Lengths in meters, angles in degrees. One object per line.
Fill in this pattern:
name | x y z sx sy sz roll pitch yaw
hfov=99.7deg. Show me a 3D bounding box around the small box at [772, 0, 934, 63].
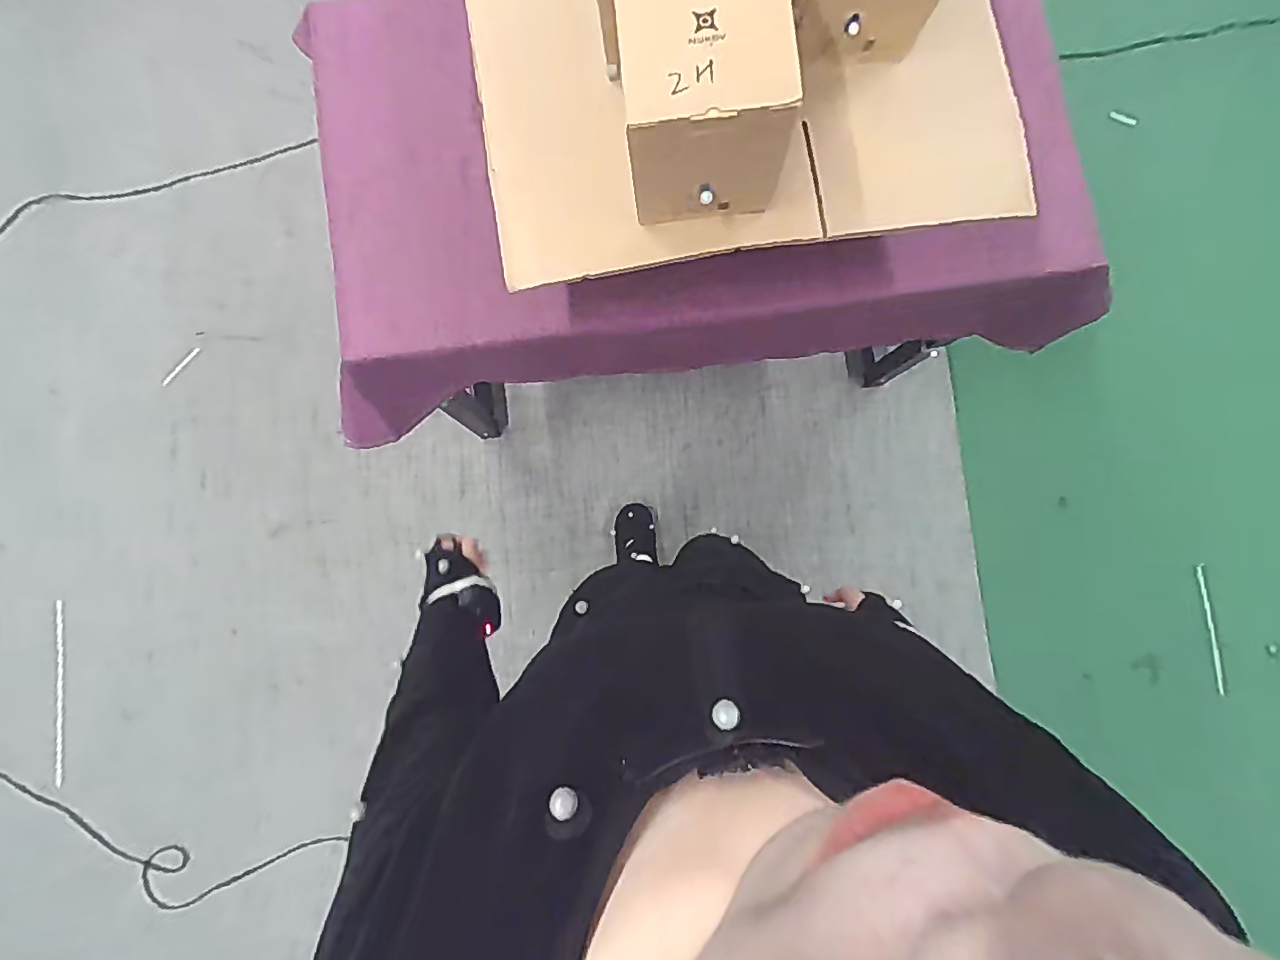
small box | 0.254 -0.633 0.626 0.168 0.176 0.179 -6 85 -5
